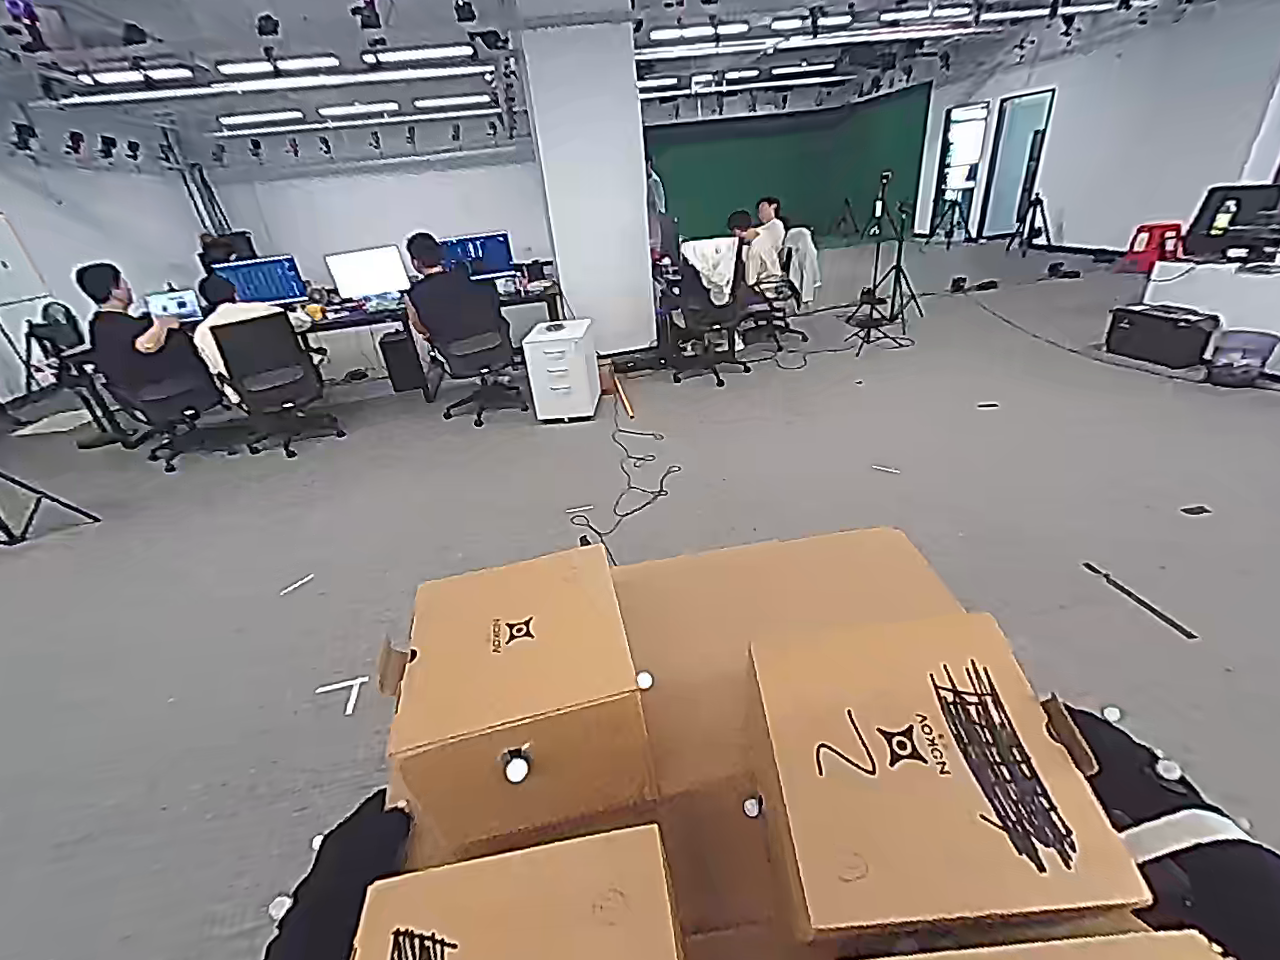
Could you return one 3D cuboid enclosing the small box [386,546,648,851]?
[{"bbox_3d":[-0.095,0.191,0.485,0.179,0.176,0.168,-13,34,-6],"label":"small box"}]
